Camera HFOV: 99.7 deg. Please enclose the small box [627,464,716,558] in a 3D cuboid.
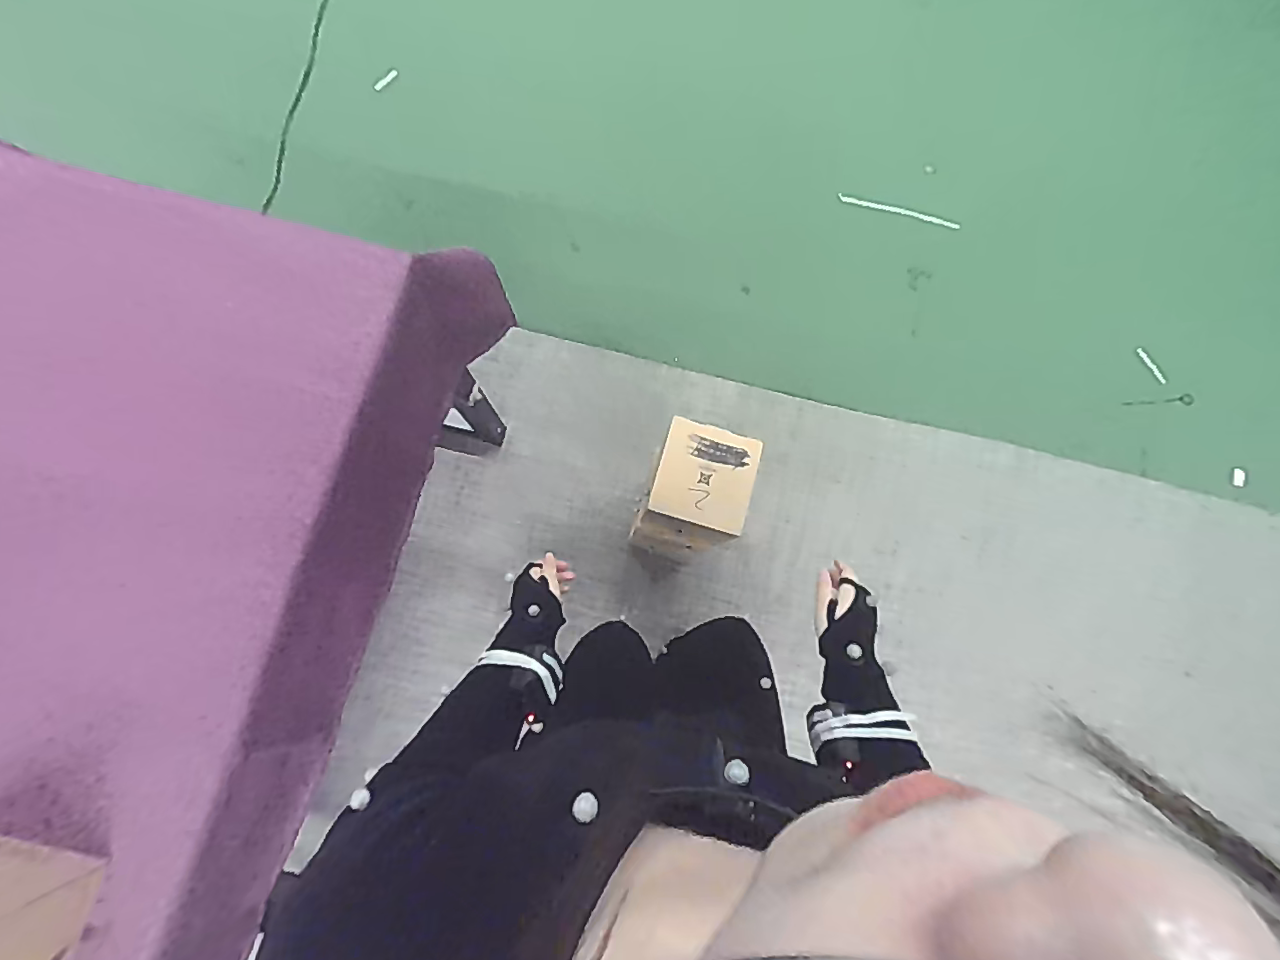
[{"bbox_3d":[0.072,0.083,1.315,0.168,0.176,0.179,18,77,1],"label":"small box"}]
